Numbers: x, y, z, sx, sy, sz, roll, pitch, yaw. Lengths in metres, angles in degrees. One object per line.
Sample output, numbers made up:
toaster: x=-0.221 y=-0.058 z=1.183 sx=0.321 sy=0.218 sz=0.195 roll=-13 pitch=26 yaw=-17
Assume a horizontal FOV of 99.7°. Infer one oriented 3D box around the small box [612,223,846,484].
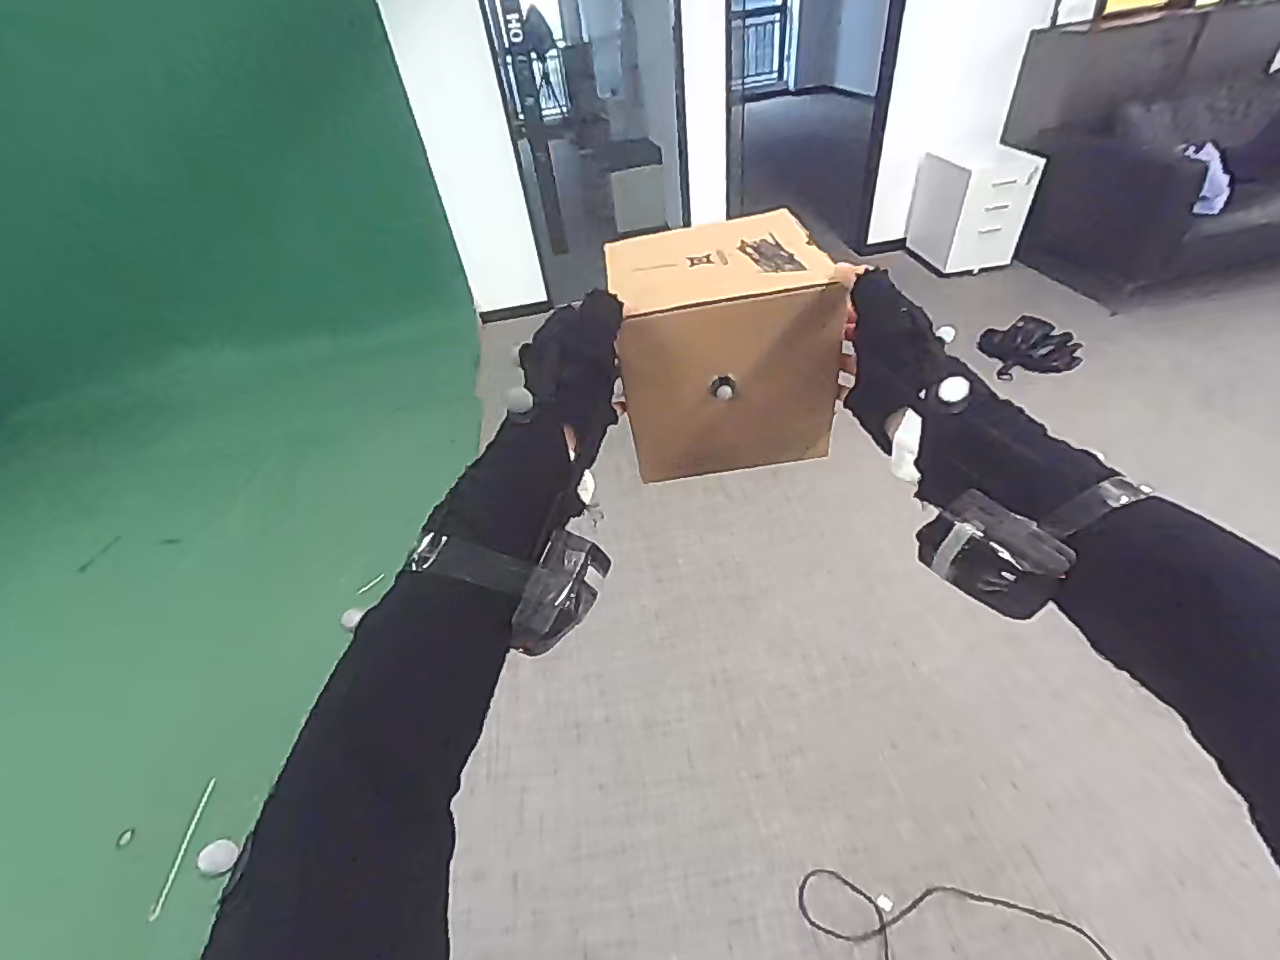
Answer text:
small box: x=0.074 y=-0.118 z=0.511 sx=0.179 sy=0.176 sz=0.168 roll=-9 pitch=41 yaw=3
